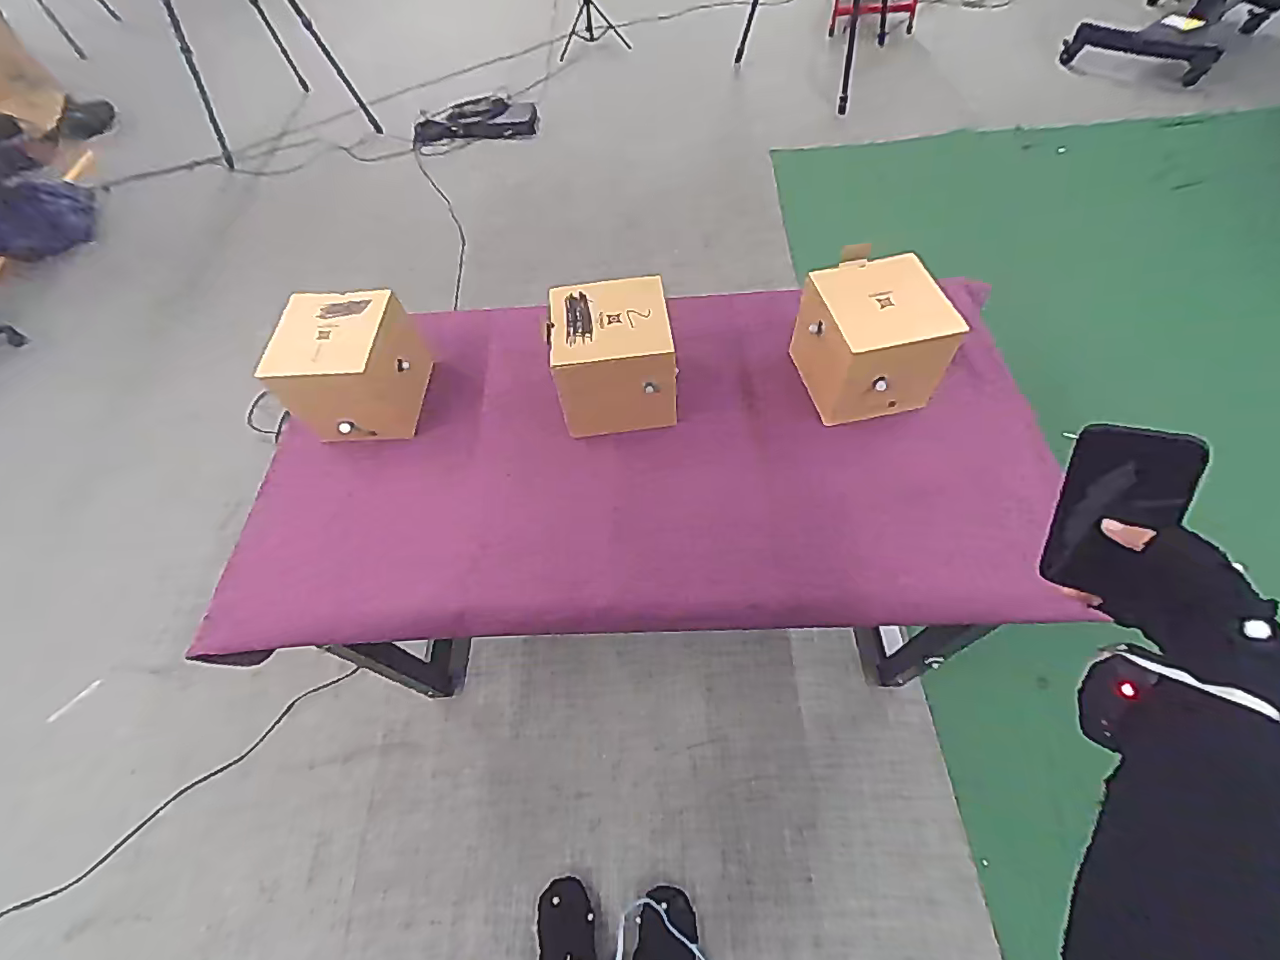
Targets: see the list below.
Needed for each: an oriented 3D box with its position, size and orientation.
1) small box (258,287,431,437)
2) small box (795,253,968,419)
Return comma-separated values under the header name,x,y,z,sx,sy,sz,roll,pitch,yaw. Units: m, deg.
name,x,y,z,sx,sy,sz,roll,pitch,yaw
small box,-0.459,-0.187,0.877,0.168,0.176,0.179,-1,60,4
small box,0.353,-0.210,0.829,0.168,0.176,0.179,-11,58,-2
